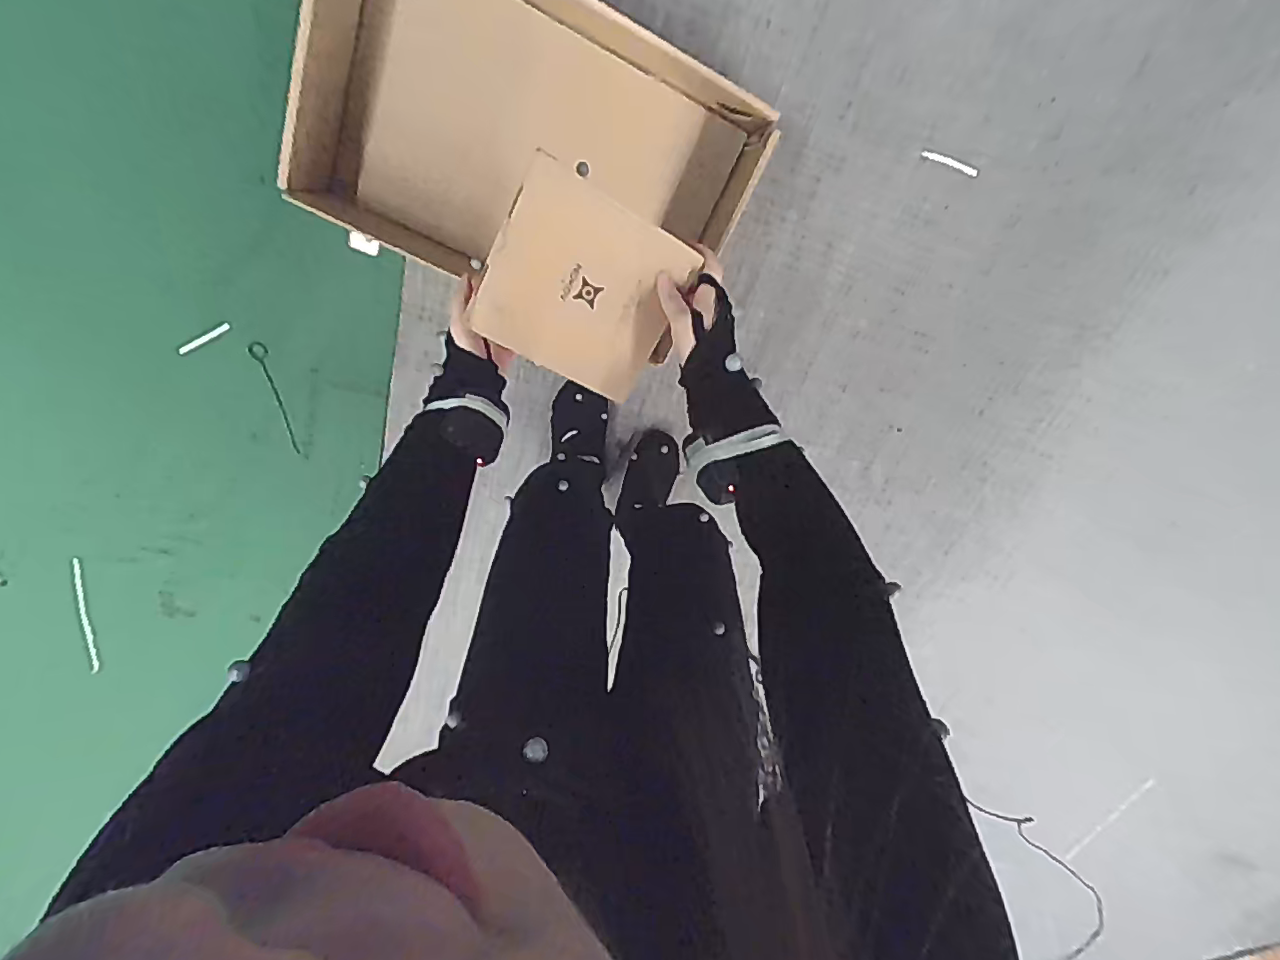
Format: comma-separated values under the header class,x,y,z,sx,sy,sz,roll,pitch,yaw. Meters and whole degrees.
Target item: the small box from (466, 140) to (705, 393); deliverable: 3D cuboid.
class,x,y,z,sx,sy,sz,roll,pitch,yaw
small box,-0.064,-0.223,0.579,0.179,0.176,0.168,25,110,-22
